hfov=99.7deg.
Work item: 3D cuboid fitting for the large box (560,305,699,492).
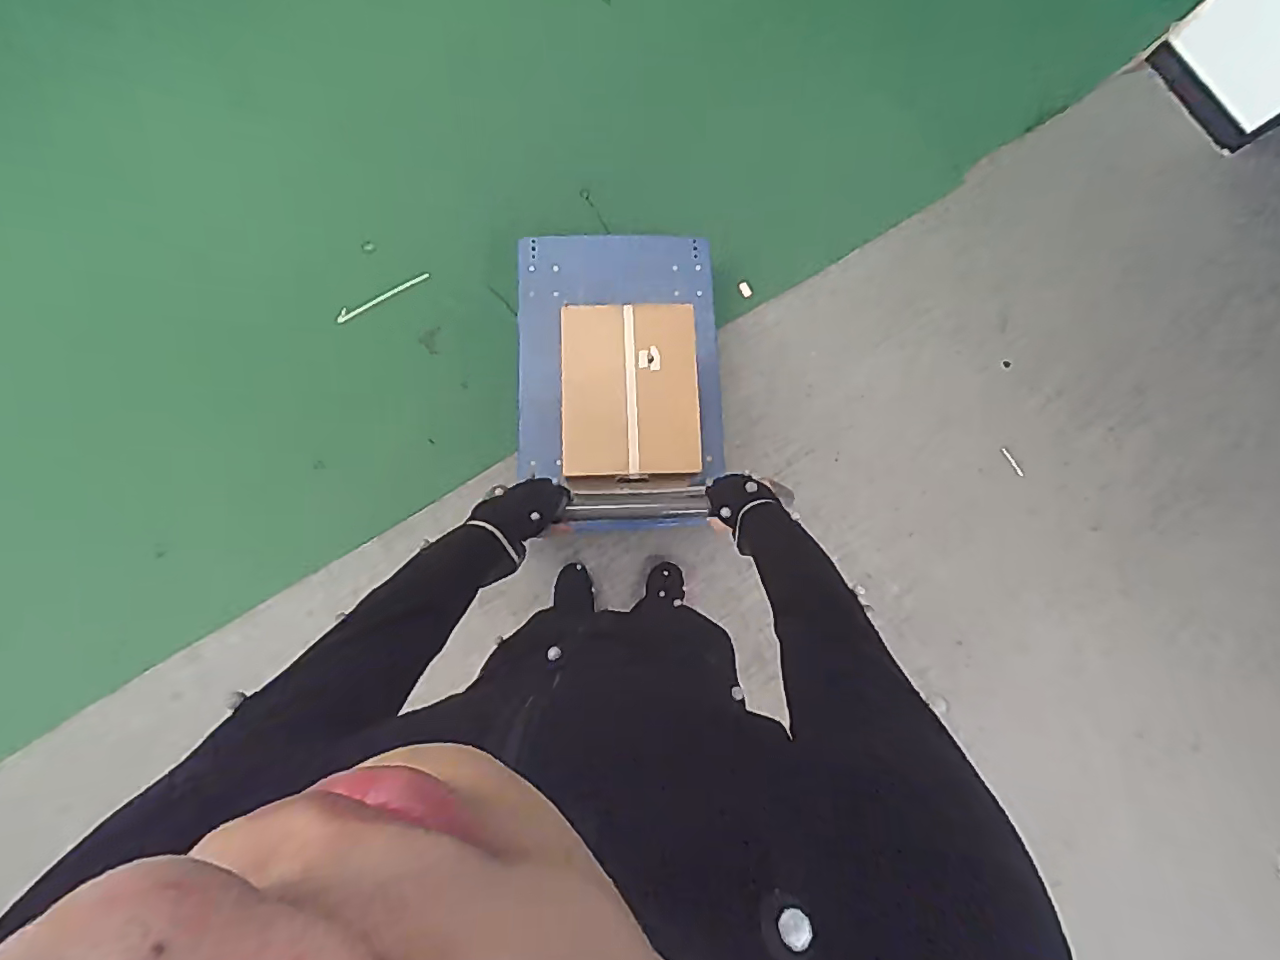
[{"bbox_3d":[-0.034,-0.191,1.394,0.320,0.320,0.408,-1,80,-4],"label":"large box"}]
